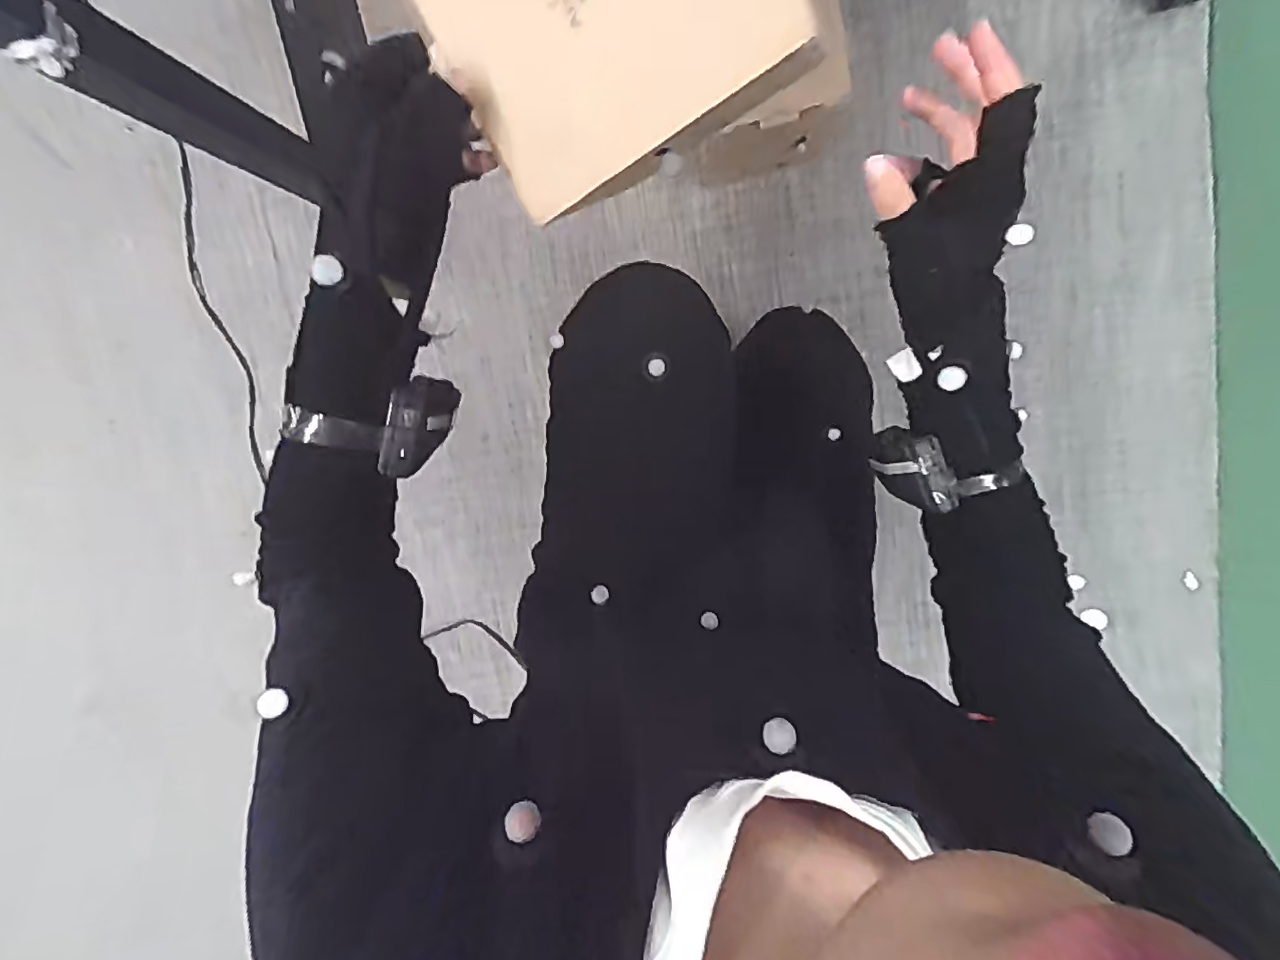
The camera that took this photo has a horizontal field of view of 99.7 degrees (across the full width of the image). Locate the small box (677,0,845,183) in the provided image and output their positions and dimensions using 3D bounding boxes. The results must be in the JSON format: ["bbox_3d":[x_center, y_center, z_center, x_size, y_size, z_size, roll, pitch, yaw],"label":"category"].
[{"bbox_3d":[0.147,-0.505,0.686,0.168,0.176,0.179,-11,96,8],"label":"small box"}]
